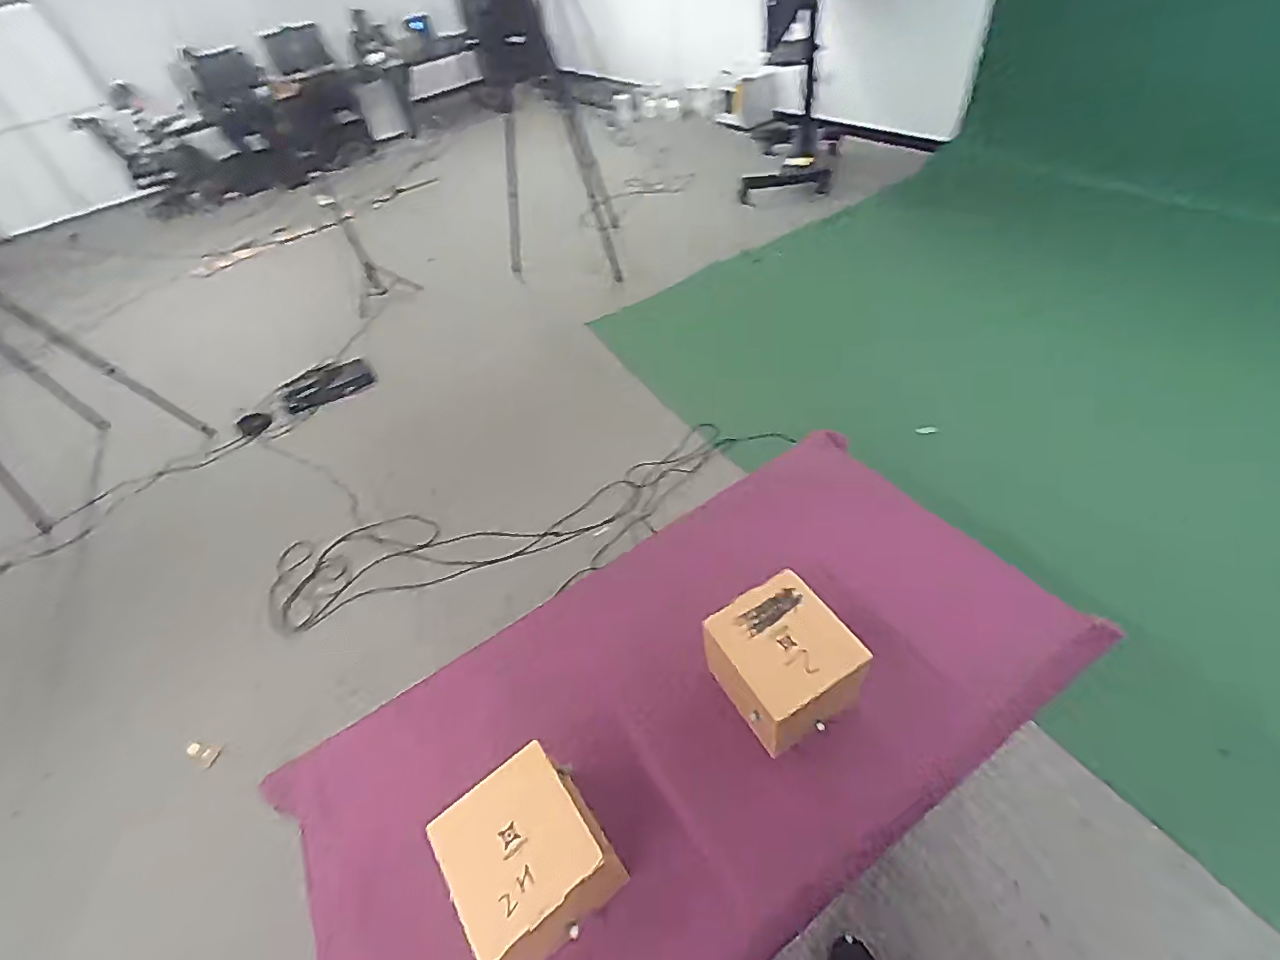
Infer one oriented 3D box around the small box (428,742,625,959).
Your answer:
[{"bbox_3d":[-0.142,0.493,0.710,0.168,0.176,0.179,-34,49,-18],"label":"small box"}]
